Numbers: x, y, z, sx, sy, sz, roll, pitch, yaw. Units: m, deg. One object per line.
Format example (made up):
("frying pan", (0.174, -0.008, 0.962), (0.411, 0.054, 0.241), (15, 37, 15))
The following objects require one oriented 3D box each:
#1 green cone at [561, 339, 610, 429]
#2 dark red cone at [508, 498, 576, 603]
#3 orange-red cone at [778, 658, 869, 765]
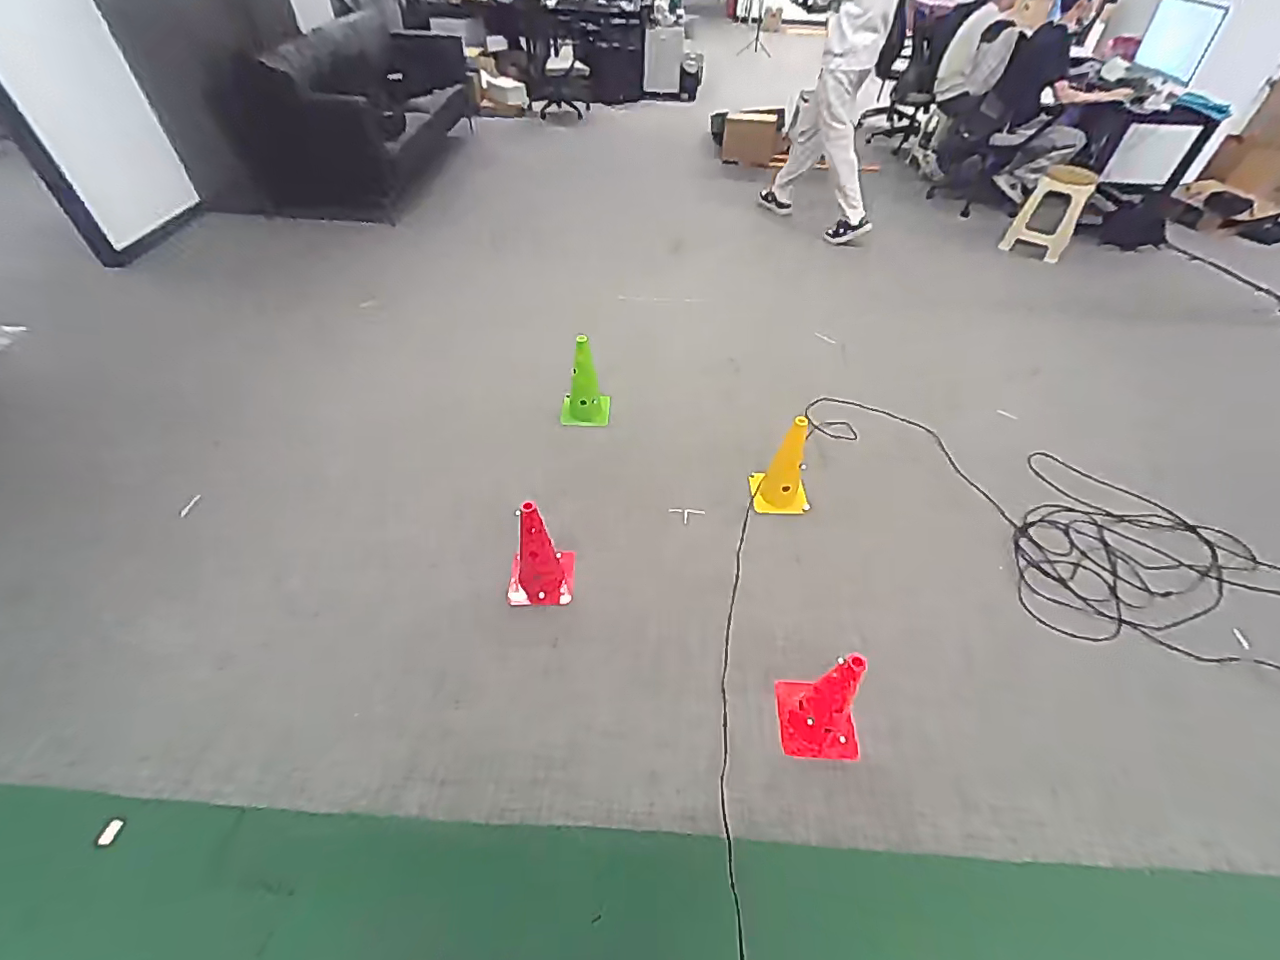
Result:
("green cone", (-0.223, -0.404, 2.188), (0.202, 0.368, 0.200), (3, 47, -1))
("dark red cone", (-0.302, 0.190, 1.589), (0.202, 0.394, 0.201), (-1, 48, -3))
("orange-red cone", (0.480, 0.529, 1.323), (0.198, 0.360, 0.199), (4, 46, 1))
